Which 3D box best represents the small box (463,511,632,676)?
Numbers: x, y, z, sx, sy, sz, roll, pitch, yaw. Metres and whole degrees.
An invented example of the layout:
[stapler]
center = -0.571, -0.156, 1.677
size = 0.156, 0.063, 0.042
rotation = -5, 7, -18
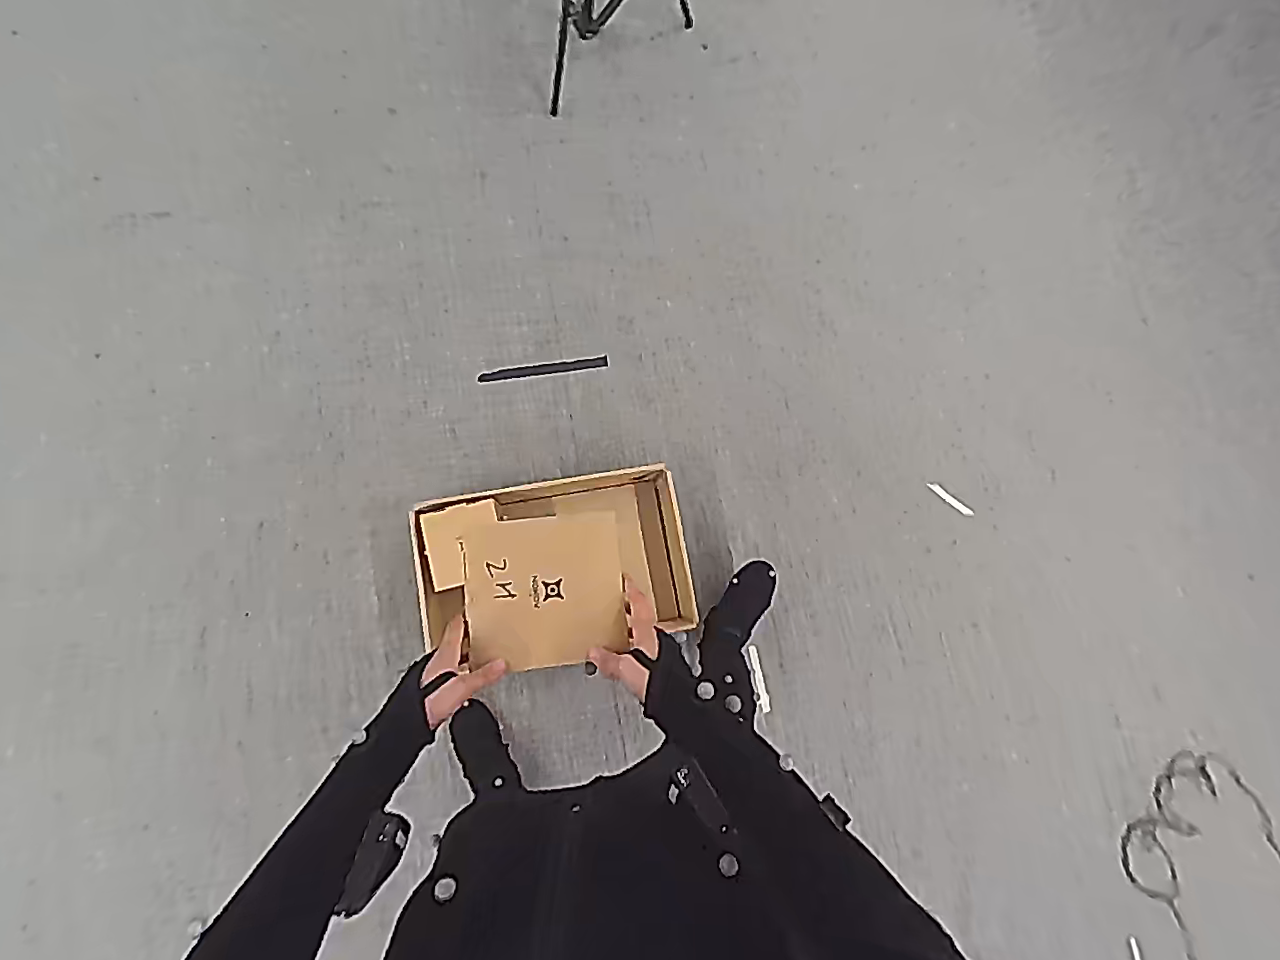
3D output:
[small box]
center = -0.111, 0.138, 0.674
size = 0.179, 0.176, 0.168
rotation = -6, 77, -6
